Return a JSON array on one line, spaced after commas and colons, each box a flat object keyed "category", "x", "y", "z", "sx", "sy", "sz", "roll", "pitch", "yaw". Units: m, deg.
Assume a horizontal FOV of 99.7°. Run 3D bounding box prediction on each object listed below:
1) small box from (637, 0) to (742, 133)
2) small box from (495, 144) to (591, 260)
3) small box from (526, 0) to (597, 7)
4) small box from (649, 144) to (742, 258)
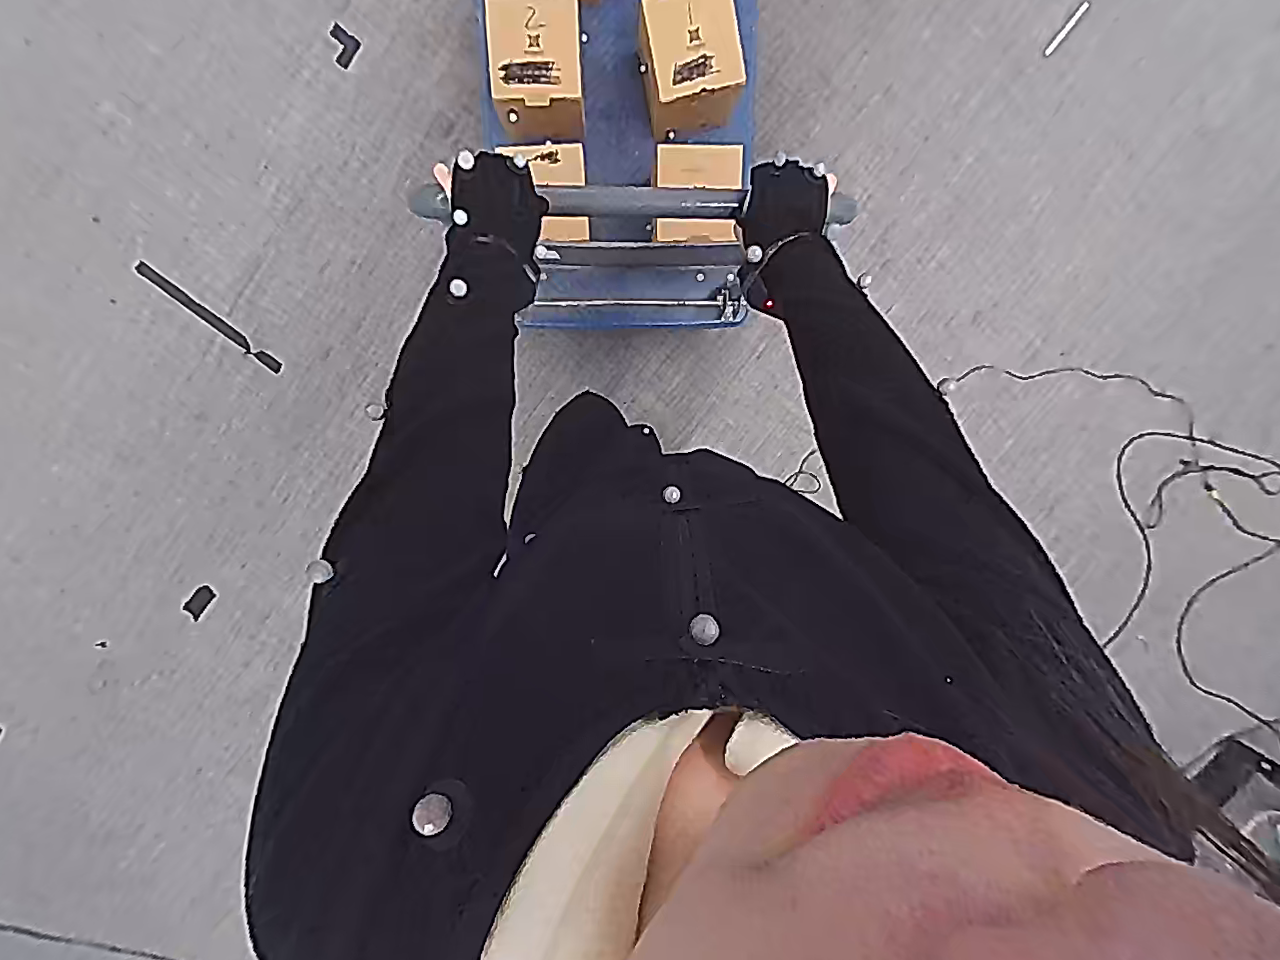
[{"category": "small box", "x": 0.092, "y": -0.818, "z": 1.066, "sx": 0.168, "sy": 0.176, "sz": 0.179, "roll": -13, "pitch": 101, "yaw": -1}, {"category": "small box", "x": -0.190, "y": -0.554, "z": 1.102, "sx": 0.168, "sy": 0.176, "sz": 0.179, "roll": -5, "pitch": 102, "yaw": -3}, {"category": "small box", "x": -0.159, "y": -1.043, "z": 1.009, "sx": 0.168, "sy": 0.176, "sz": 0.179, "roll": 1, "pitch": 102, "yaw": -3}, {"category": "small box", "x": 0.108, "y": -0.565, "z": 1.118, "sx": 0.168, "sy": 0.176, "sz": 0.179, "roll": -1, "pitch": 100, "yaw": -4}]
